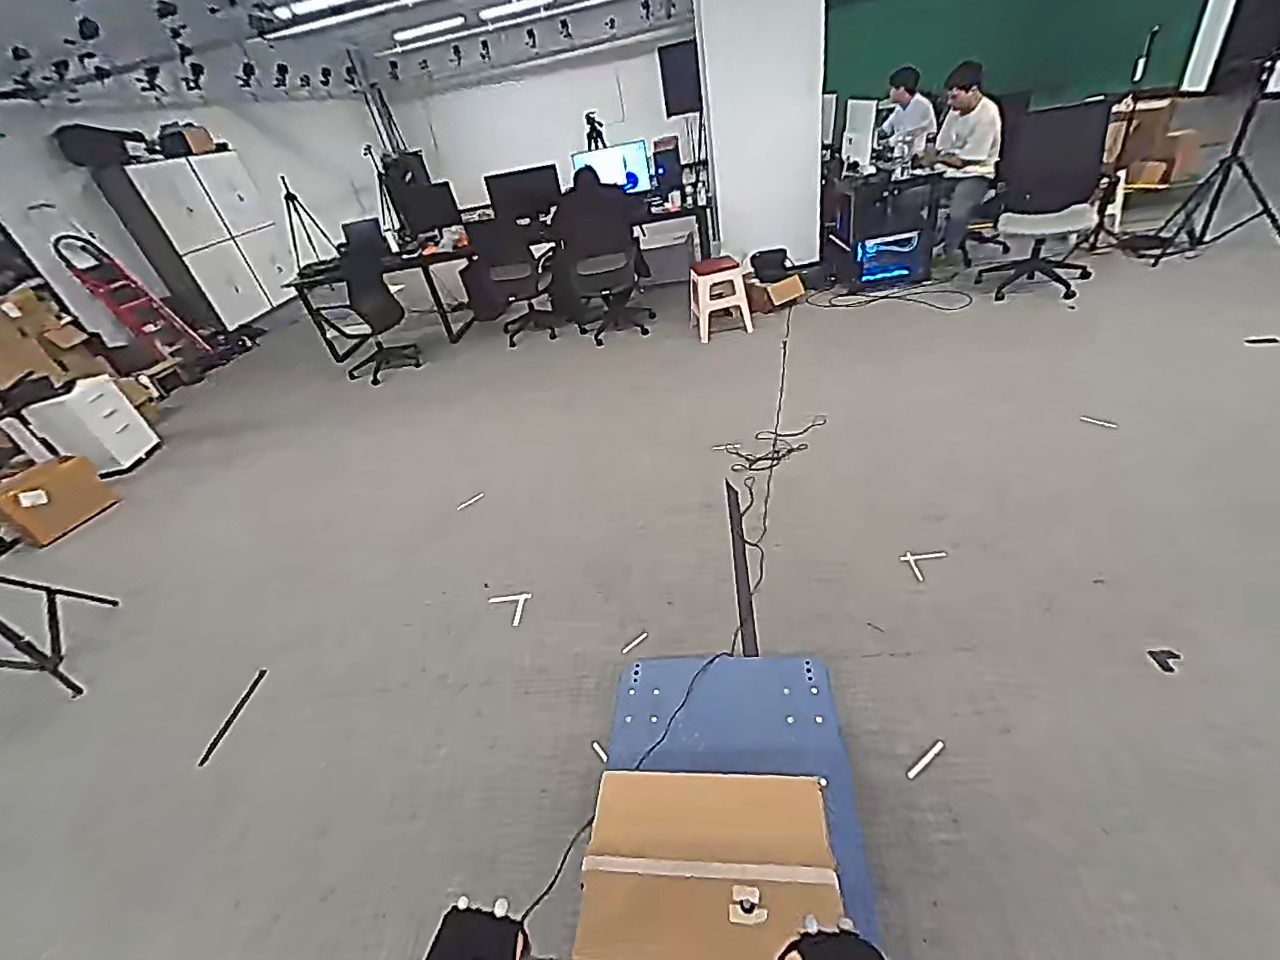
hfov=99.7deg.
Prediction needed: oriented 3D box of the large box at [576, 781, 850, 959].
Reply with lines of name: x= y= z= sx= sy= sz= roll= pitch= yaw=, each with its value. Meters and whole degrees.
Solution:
large box: x=0.132 y=0.764 z=0.944 sx=0.408 sy=0.320 sz=0.320 roll=-4 pitch=35 yaw=11
